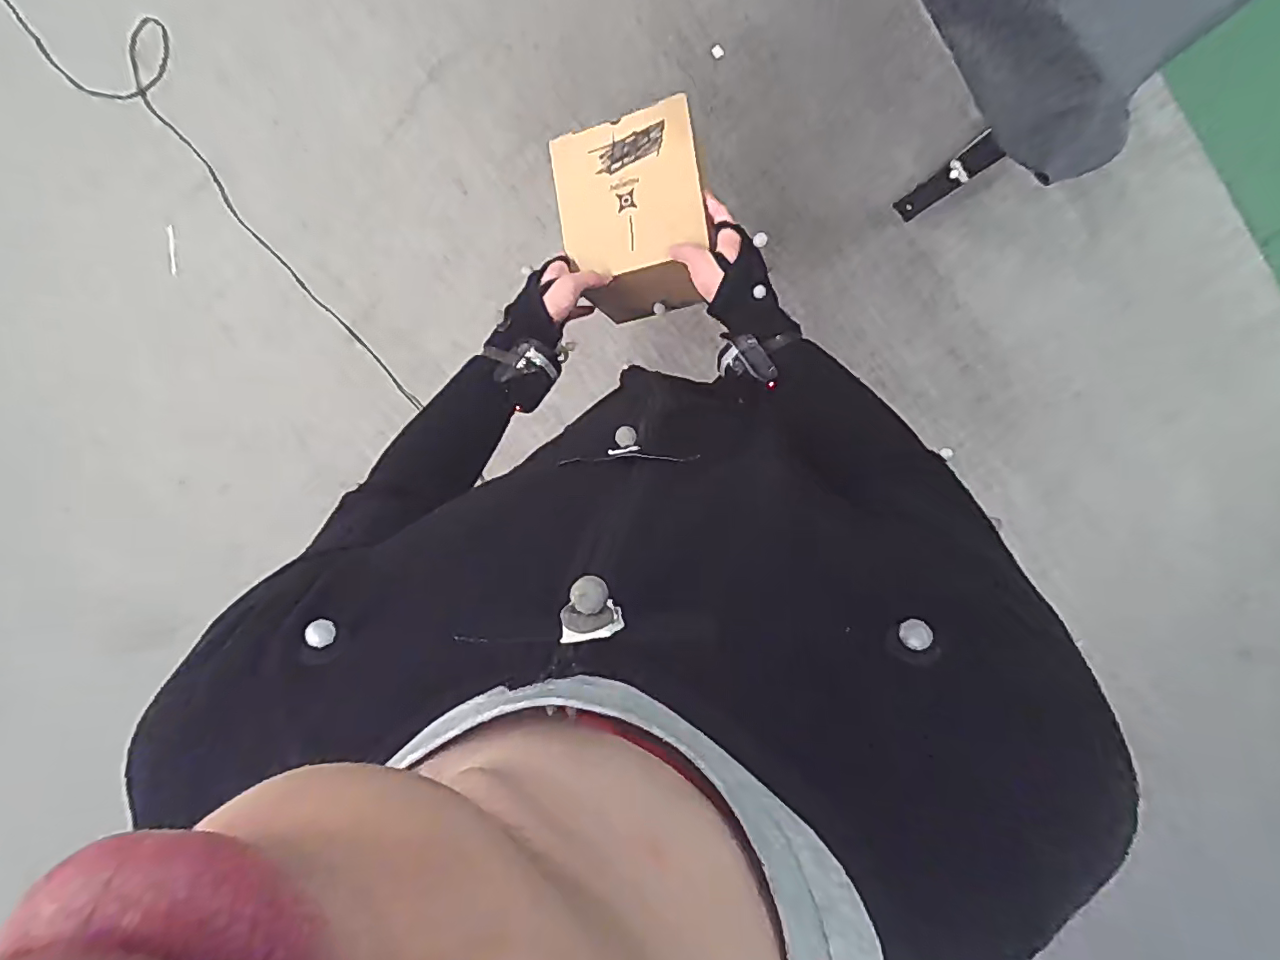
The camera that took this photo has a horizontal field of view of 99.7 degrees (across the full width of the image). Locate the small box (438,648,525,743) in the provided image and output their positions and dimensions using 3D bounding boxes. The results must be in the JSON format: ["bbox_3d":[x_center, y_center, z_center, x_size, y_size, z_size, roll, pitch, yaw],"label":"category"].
[{"bbox_3d":[-0.473,0.651,1.653,0.179,0.176,0.168,-37,95,12],"label":"small box"}]

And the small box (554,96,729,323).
[{"bbox_3d":[0.011,-0.319,0.678,0.168,0.176,0.179,-9,88,17],"label":"small box"}]
